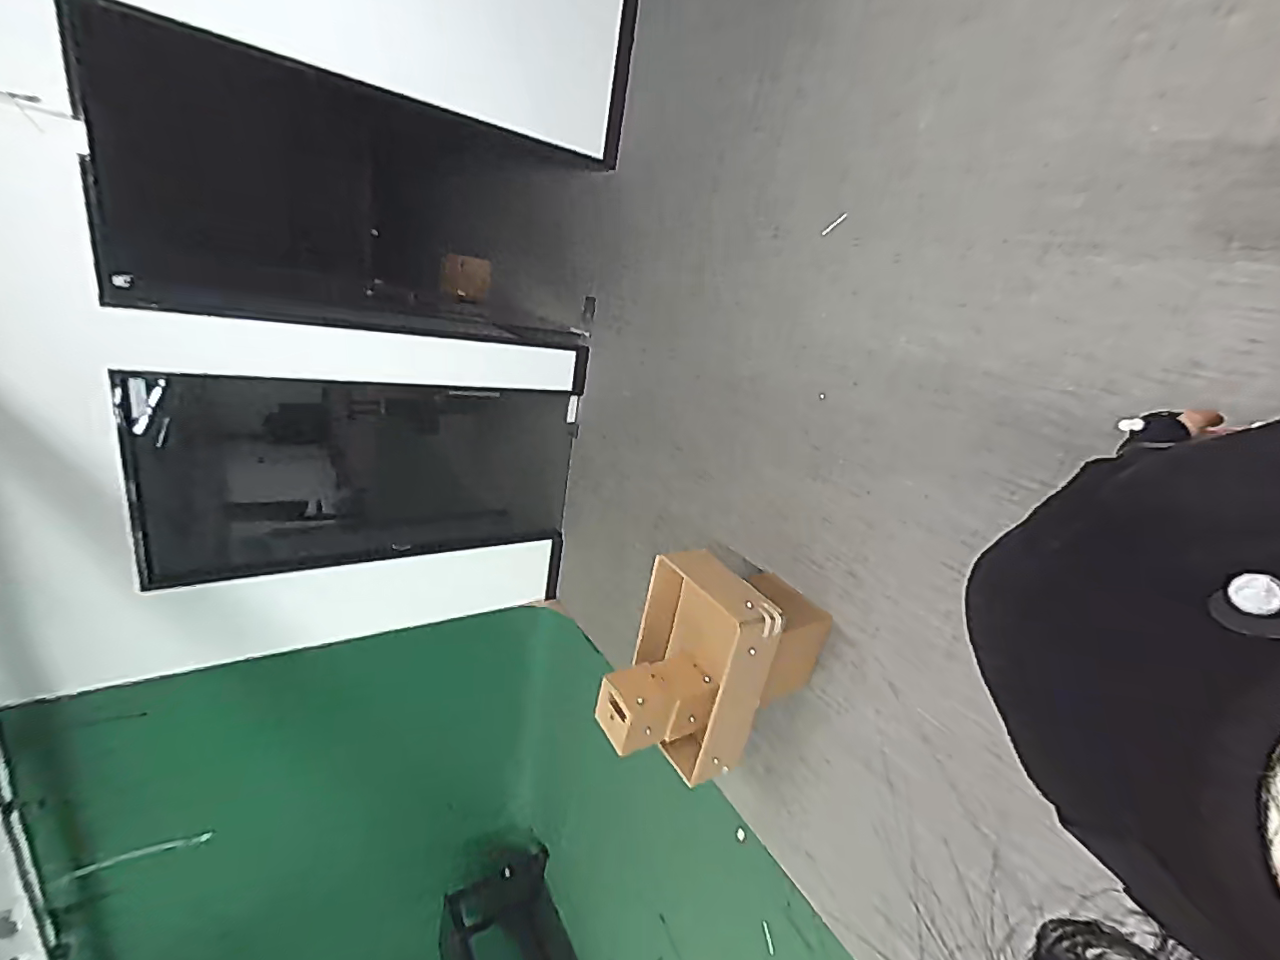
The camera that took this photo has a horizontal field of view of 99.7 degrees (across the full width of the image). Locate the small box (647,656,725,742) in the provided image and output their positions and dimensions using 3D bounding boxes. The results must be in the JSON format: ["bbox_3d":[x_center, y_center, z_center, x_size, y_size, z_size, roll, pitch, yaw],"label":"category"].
[{"bbox_3d":[0.150,0.699,1.749,0.168,0.176,0.179,38,123,48],"label":"small box"}]
